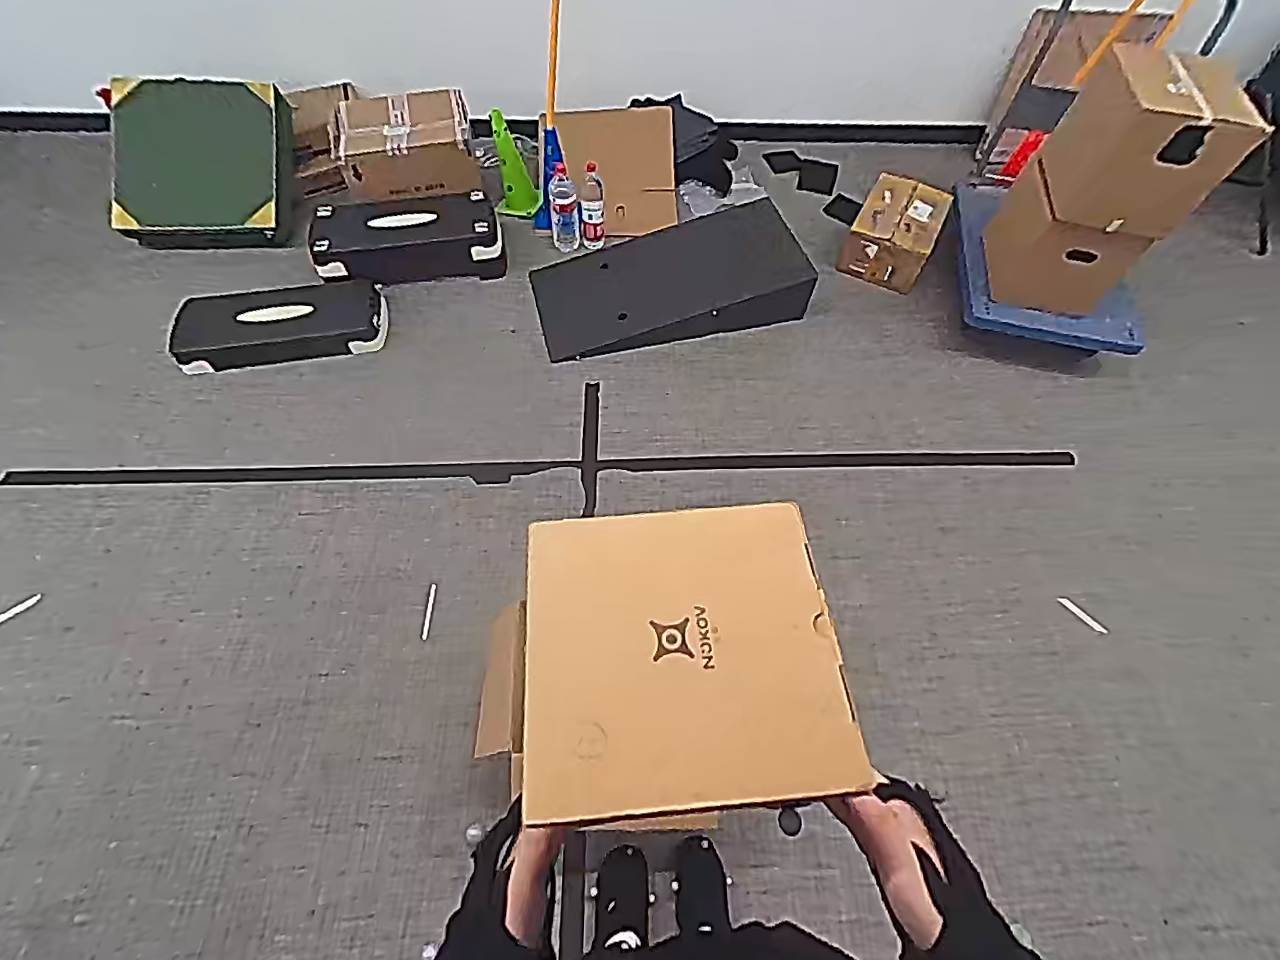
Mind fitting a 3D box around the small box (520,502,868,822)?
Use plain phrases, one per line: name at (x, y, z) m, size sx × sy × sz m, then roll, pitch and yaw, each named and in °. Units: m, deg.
small box at (0.022, 0.132, 0.373) m, size 0.179 × 0.176 × 0.168 m, roll -4°, pitch 58°, yaw -3°
